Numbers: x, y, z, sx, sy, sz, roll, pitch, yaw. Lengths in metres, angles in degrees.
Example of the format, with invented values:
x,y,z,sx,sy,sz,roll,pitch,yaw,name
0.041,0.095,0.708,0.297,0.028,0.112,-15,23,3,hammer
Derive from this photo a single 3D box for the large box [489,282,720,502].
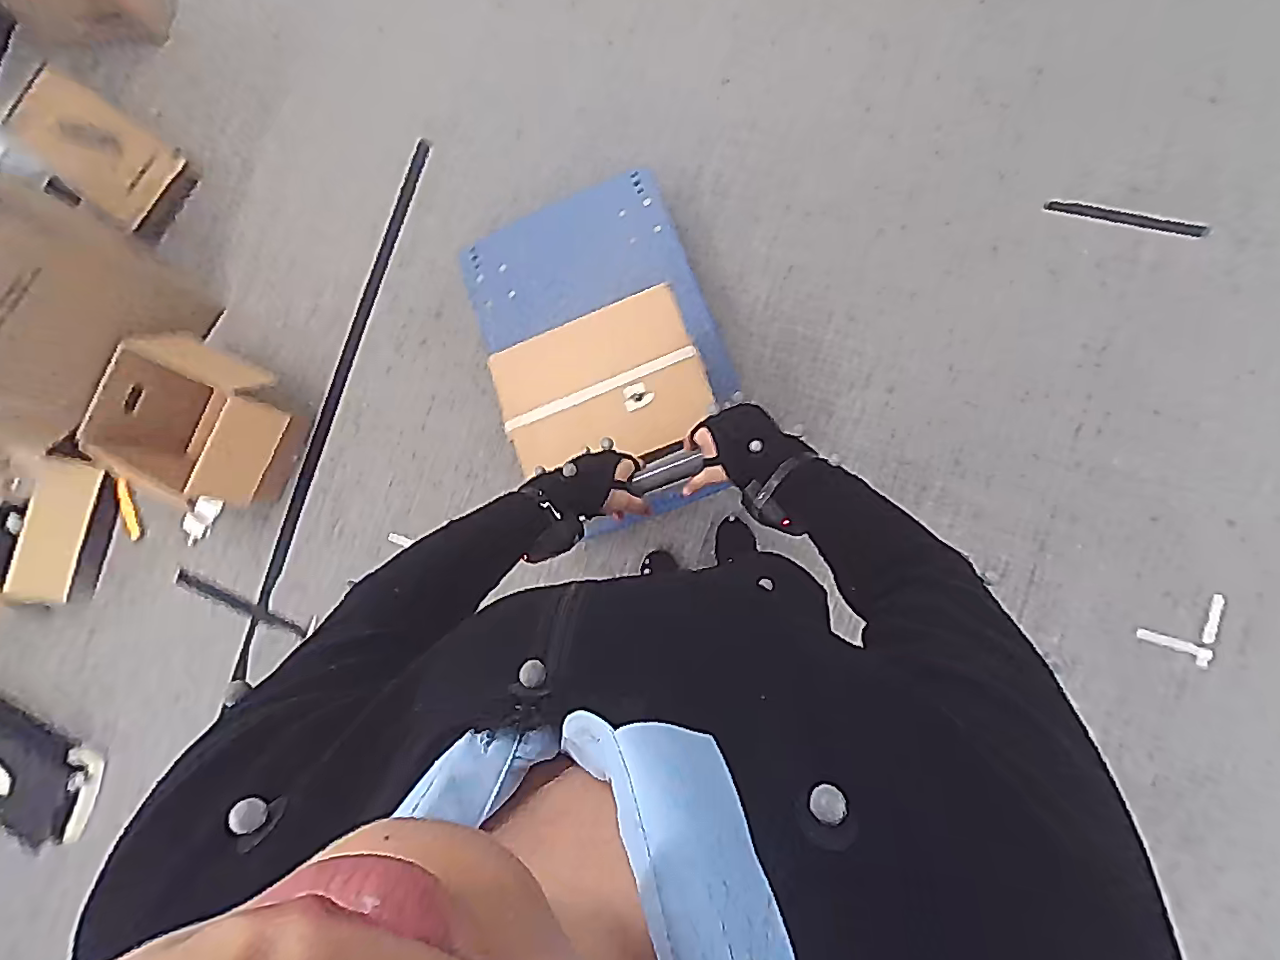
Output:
x,y,z,sx,sy,sz,roll,pitch,yaw,name
-0.059,-0.168,1.224,0.408,0.320,0.320,-21,83,6,large box
